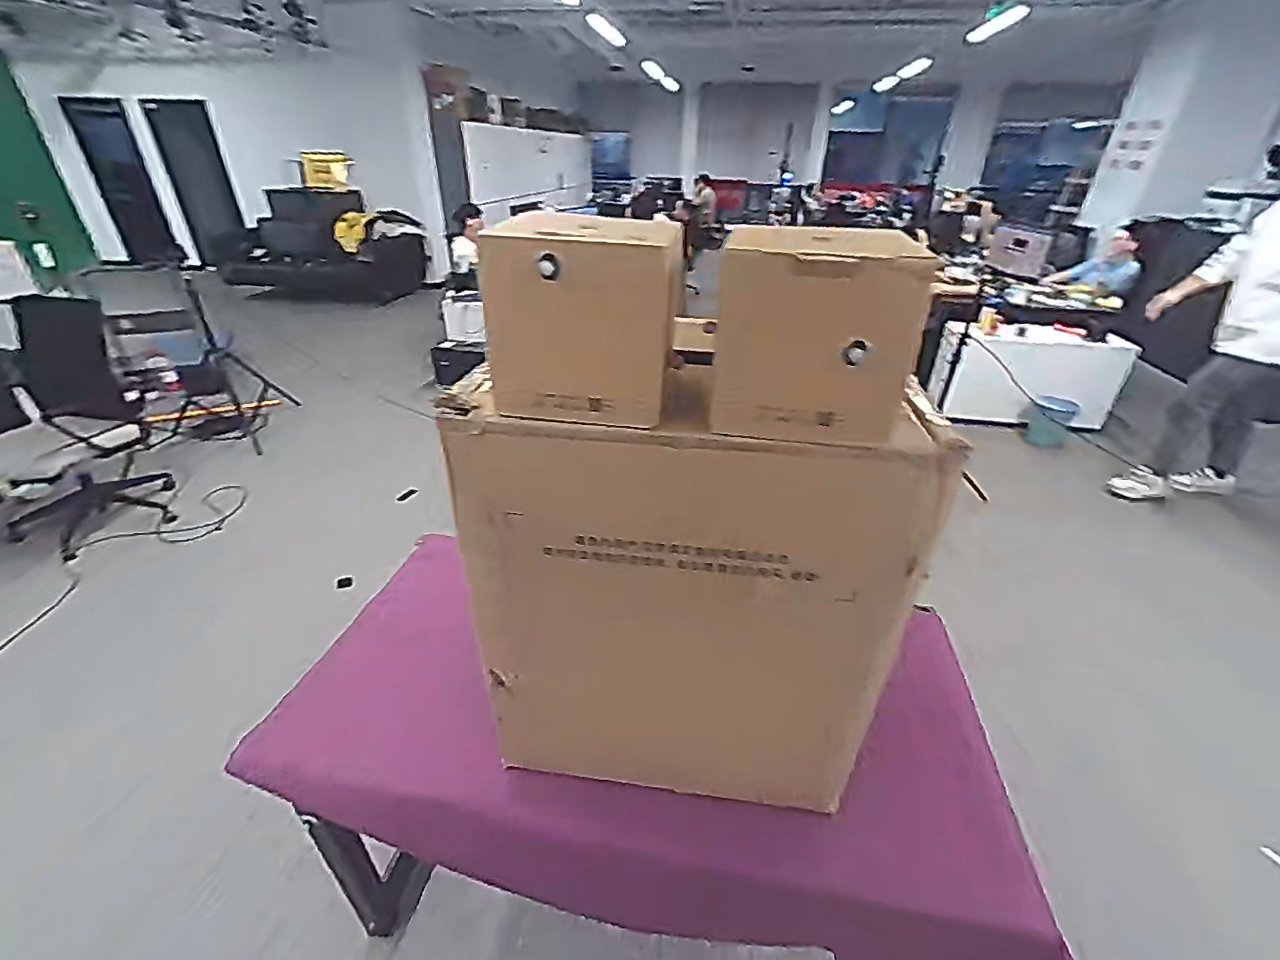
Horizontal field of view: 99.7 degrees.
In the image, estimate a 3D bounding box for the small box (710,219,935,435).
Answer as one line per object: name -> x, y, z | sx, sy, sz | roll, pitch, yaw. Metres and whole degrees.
small box -> 0.162, -0.156, 0.531 | 0.168, 0.176, 0.179 | 7, 31, 10
